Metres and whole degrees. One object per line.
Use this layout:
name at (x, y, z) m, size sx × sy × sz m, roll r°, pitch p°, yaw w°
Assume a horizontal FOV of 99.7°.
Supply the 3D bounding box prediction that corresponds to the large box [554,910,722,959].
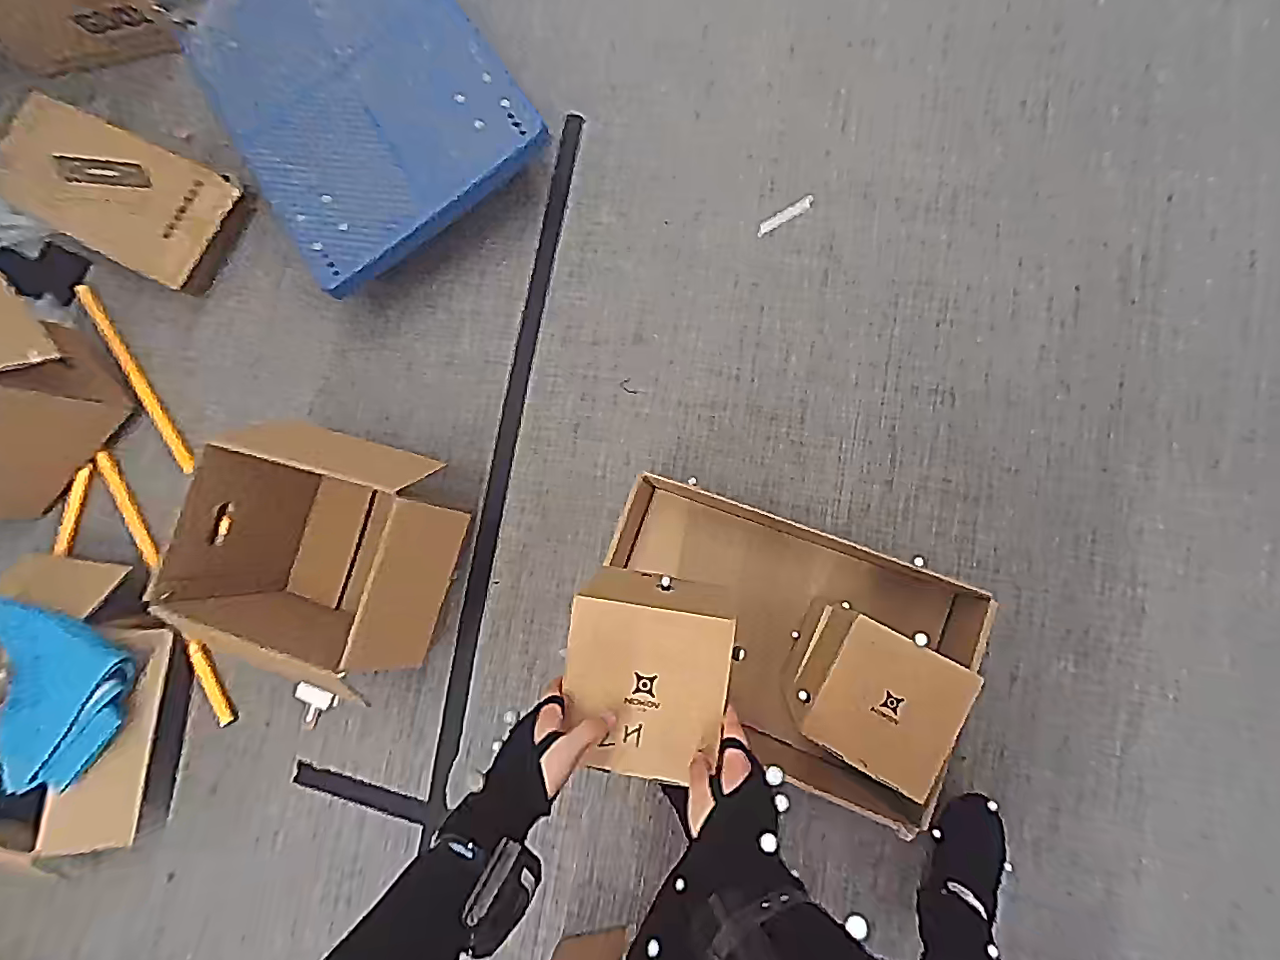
large box at (0.021, 1.021, 0.859) m, size 0.320 × 0.320 × 0.408 m, roll -18°, pitch 82°, yaw 7°

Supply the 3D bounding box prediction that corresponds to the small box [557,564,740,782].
small box at (0.016, 0.203, 0.624) m, size 0.168 × 0.176 × 0.179 m, roll 9°, pitch 92°, yaw 7°
